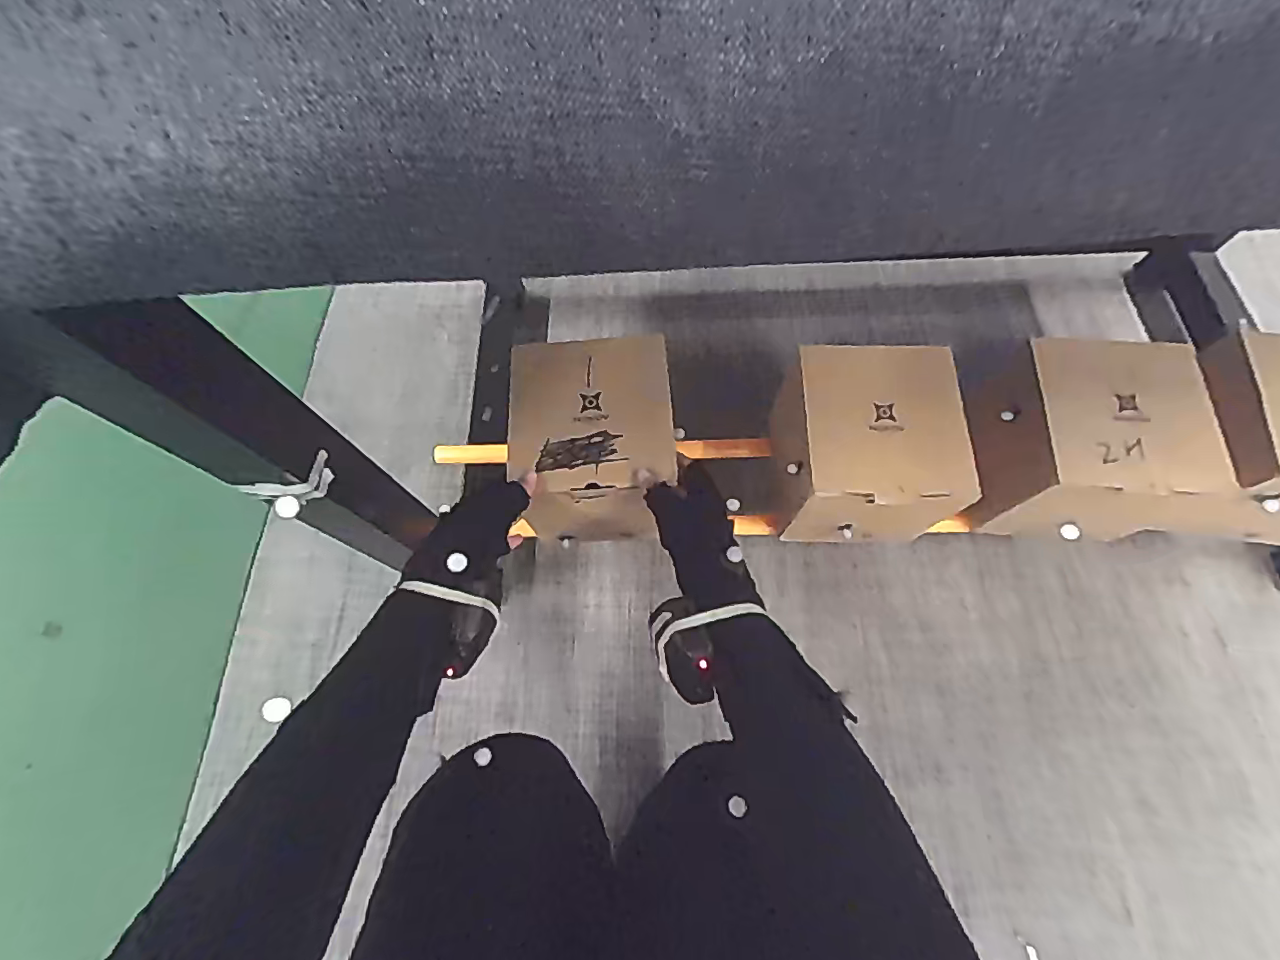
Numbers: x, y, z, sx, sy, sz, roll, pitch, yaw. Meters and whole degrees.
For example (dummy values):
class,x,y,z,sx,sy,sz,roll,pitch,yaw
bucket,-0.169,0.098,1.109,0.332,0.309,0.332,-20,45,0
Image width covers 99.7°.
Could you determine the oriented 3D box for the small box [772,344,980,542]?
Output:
class,x,y,z,sx,sy,sz,roll,pitch,yaw
small box,0.253,-0.037,0.630,0.168,0.176,0.179,1,69,3
